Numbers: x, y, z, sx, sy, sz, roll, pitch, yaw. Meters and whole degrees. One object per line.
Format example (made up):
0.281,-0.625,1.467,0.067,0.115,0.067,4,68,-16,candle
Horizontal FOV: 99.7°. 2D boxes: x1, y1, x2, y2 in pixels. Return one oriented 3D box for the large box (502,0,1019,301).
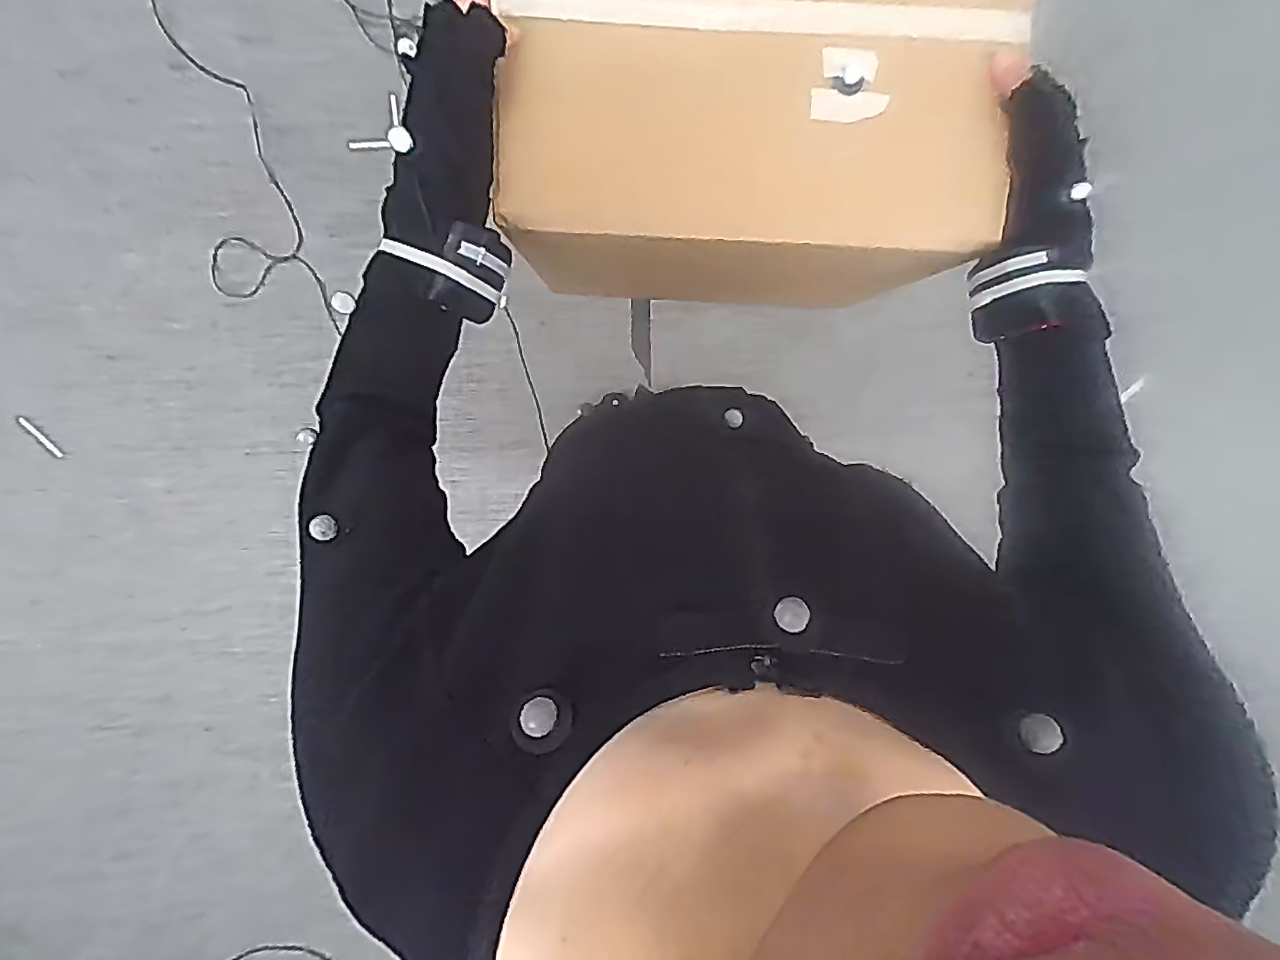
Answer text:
0.087,-0.375,0.562,0.408,0.320,0.320,2,99,-2,large box
